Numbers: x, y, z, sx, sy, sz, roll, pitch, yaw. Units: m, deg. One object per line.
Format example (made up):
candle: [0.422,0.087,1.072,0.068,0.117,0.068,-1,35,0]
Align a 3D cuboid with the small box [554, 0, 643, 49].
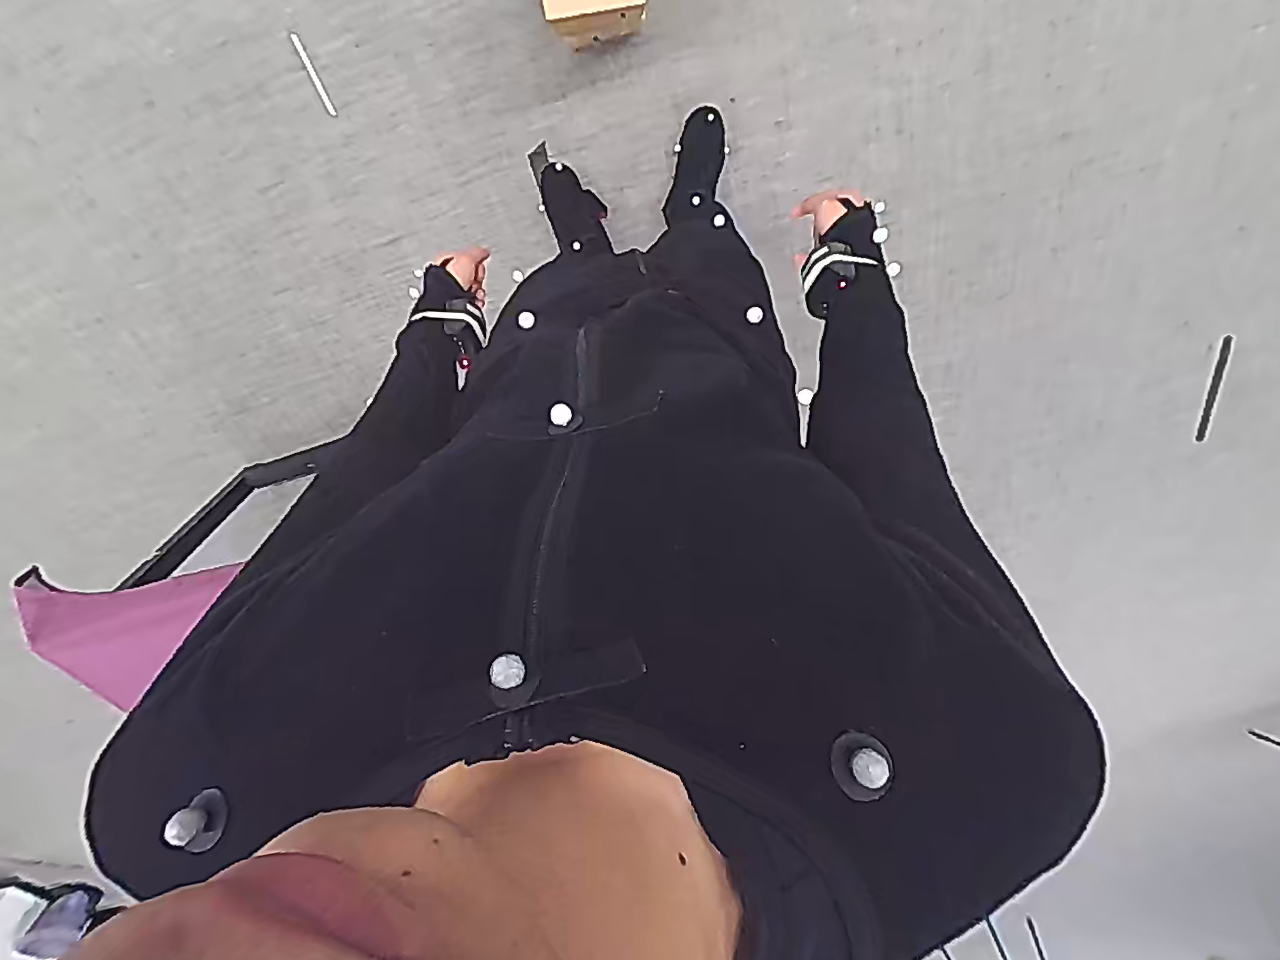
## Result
small box: [-0.091,-0.989,1.079,0.168,0.176,0.179,-12,123,5]

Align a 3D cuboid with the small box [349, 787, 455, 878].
small box: [-0.629,0.963,1.455,0.168,0.176,0.179,-25,120,12]
